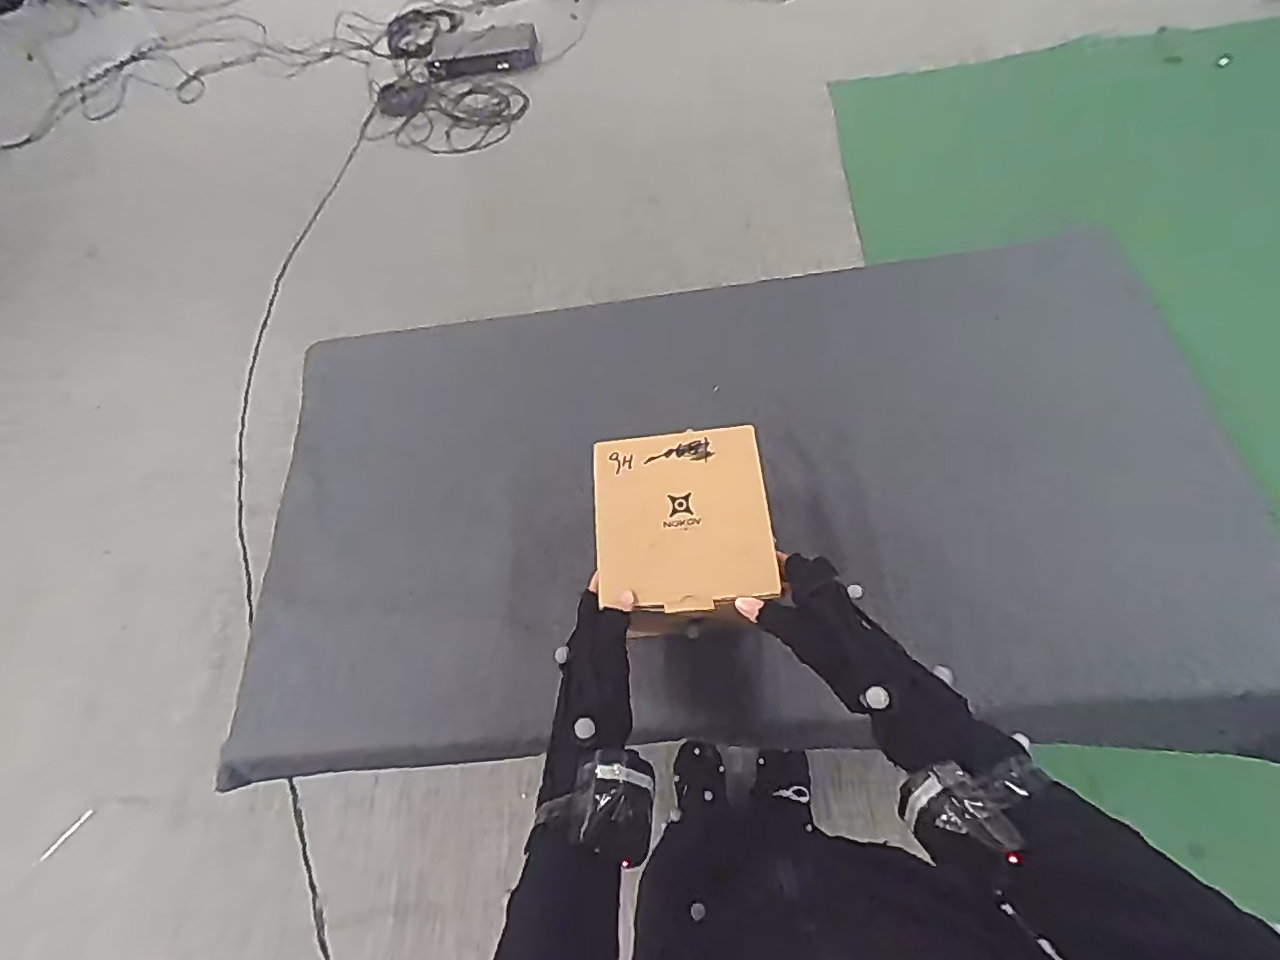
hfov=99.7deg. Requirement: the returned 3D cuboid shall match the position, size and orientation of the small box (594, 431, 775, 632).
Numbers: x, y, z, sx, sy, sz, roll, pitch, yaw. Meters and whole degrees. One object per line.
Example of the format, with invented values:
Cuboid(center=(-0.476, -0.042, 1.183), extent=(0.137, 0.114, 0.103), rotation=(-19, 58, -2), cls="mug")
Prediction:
Cuboid(center=(0.048, 0.068, 0.591), extent=(0.168, 0.176, 0.179), rotation=(-6, 67, 5), cls="small box")
